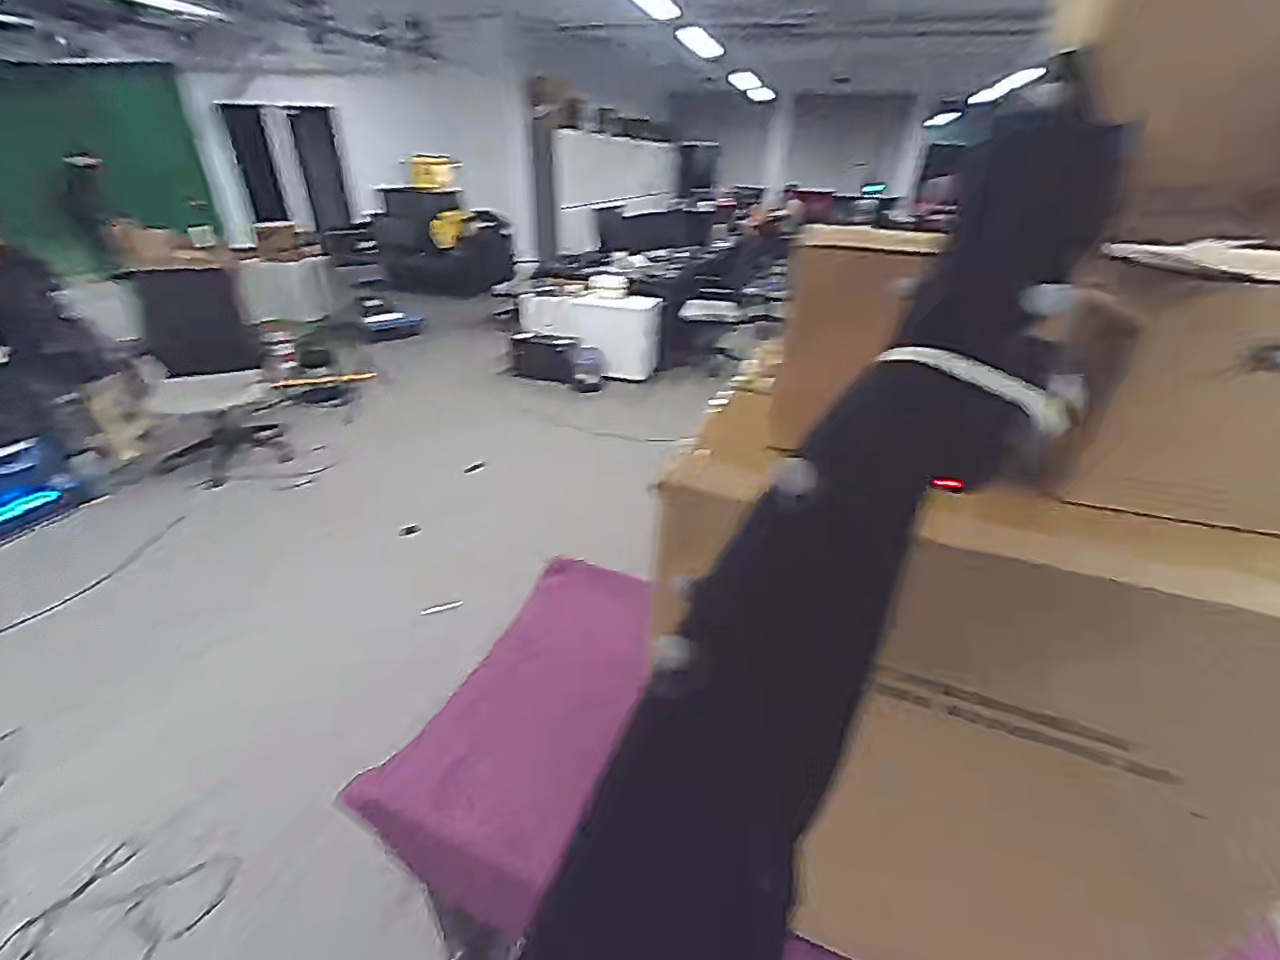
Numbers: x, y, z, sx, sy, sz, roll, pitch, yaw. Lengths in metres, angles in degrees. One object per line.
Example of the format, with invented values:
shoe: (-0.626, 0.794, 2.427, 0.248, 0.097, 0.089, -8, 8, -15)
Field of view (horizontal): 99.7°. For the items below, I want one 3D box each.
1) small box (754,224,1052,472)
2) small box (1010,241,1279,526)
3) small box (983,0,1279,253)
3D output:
small box: (0.208, -0.122, 0.478, 0.179, 0.176, 0.168, 10, 30, 14)
small box: (0.420, -0.083, 0.419, 0.179, 0.176, 0.168, 10, 31, 14)
small box: (0.341, -0.248, 0.346, 0.168, 0.176, 0.179, 11, 31, 21)
